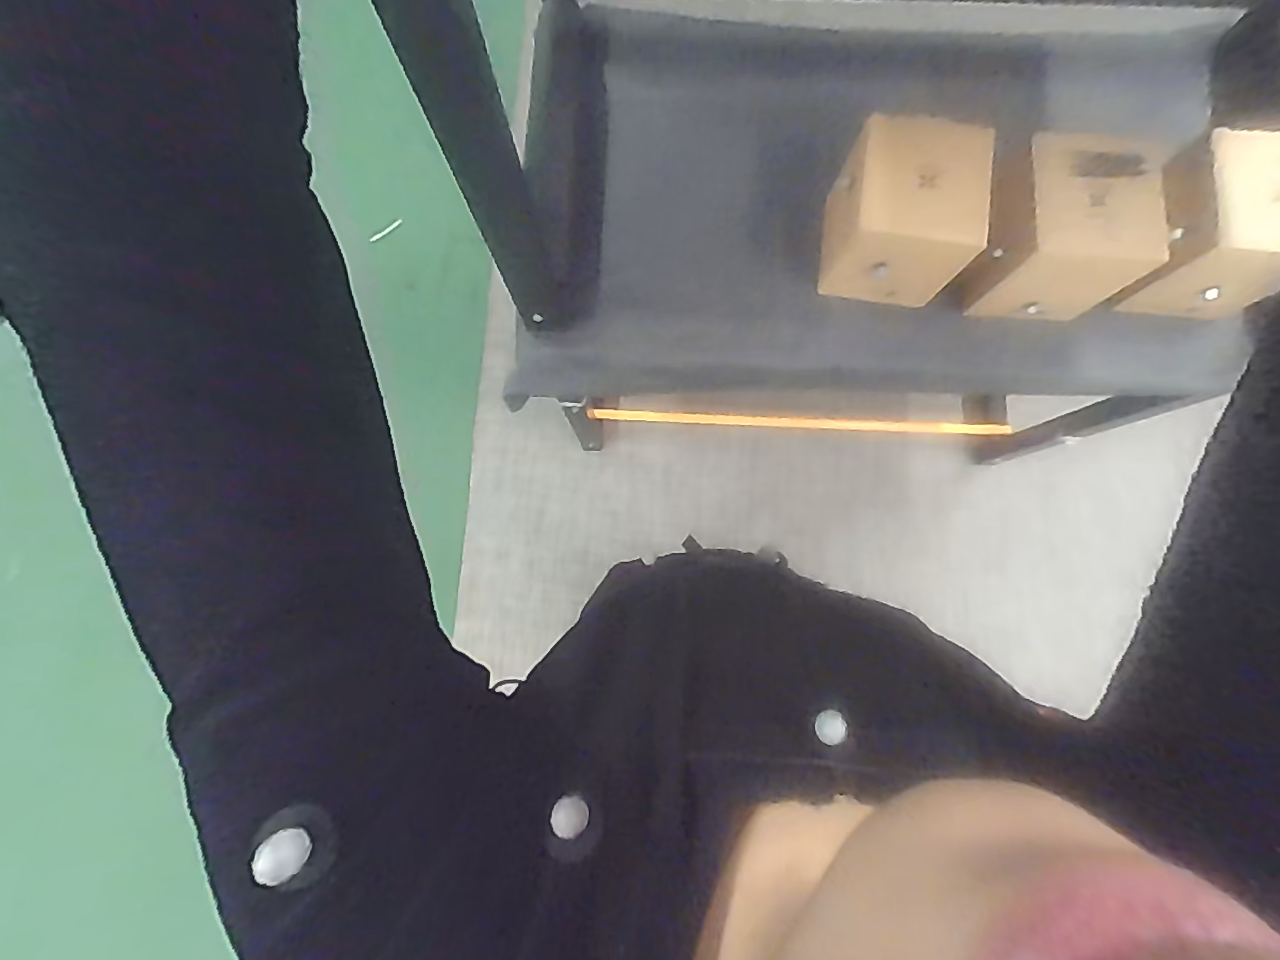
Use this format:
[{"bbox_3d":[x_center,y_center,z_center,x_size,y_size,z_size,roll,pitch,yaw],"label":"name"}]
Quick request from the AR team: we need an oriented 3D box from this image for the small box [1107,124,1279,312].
[{"bbox_3d":[0.813,-0.359,0.767,0.168,0.176,0.179,6,80,1],"label":"small box"}]

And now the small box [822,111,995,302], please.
[{"bbox_3d":[0.372,-0.380,0.778,0.168,0.176,0.179,9,80,2],"label":"small box"}]
